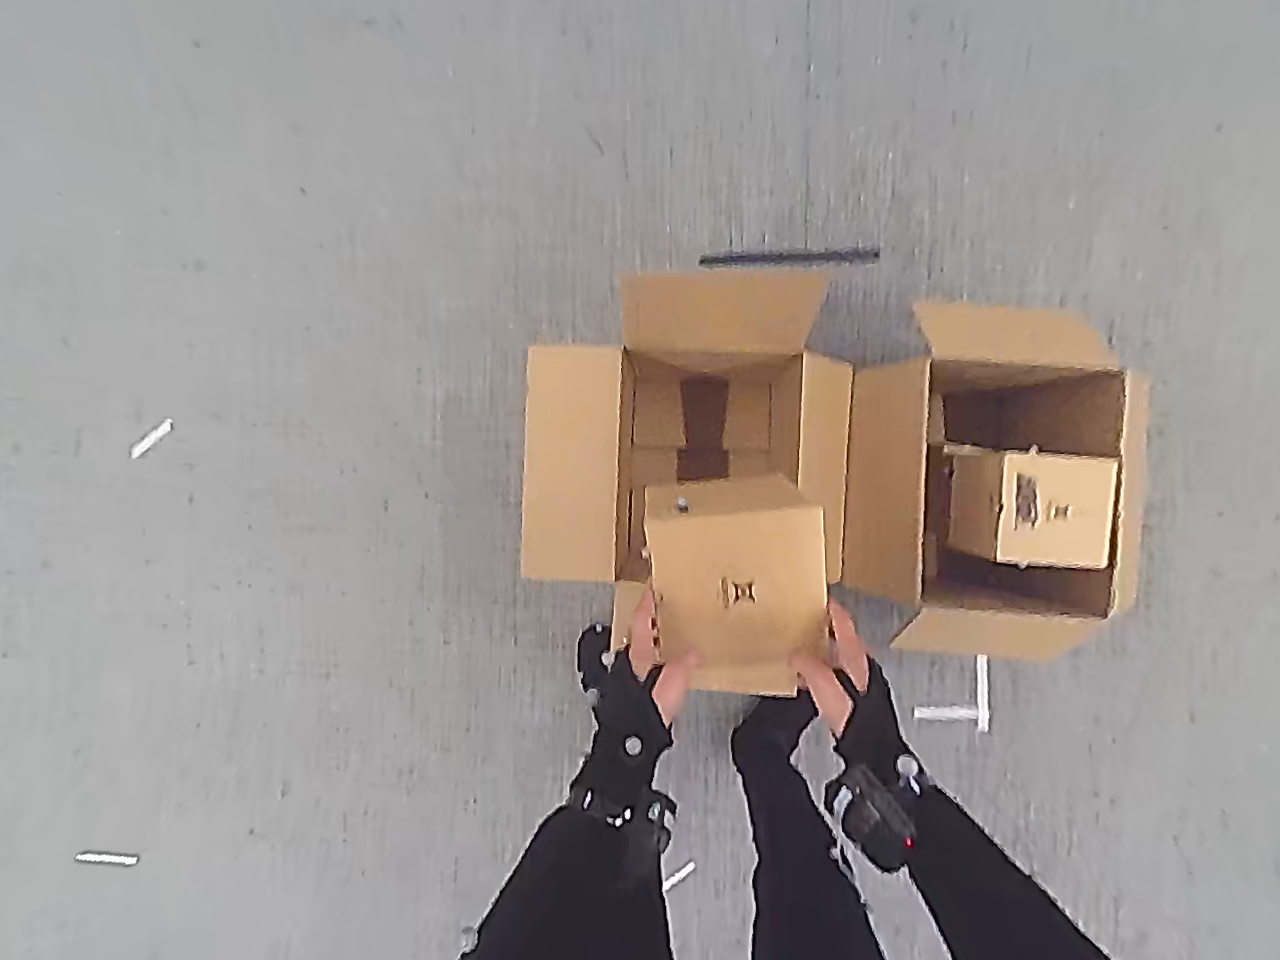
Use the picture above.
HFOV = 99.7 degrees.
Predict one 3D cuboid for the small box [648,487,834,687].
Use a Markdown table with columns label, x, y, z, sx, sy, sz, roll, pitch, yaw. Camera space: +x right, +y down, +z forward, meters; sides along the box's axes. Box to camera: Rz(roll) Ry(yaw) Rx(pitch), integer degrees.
| label | x | y | z | sx | sy | sz | roll | pitch | yaw |
| --- | --- | --- | --- | --- | --- | --- | --- | --- | --- |
| small box | 0.103 | 0.108 | 0.607 | 0.179 | 0.176 | 0.168 | -6 | 100 | 4 |
